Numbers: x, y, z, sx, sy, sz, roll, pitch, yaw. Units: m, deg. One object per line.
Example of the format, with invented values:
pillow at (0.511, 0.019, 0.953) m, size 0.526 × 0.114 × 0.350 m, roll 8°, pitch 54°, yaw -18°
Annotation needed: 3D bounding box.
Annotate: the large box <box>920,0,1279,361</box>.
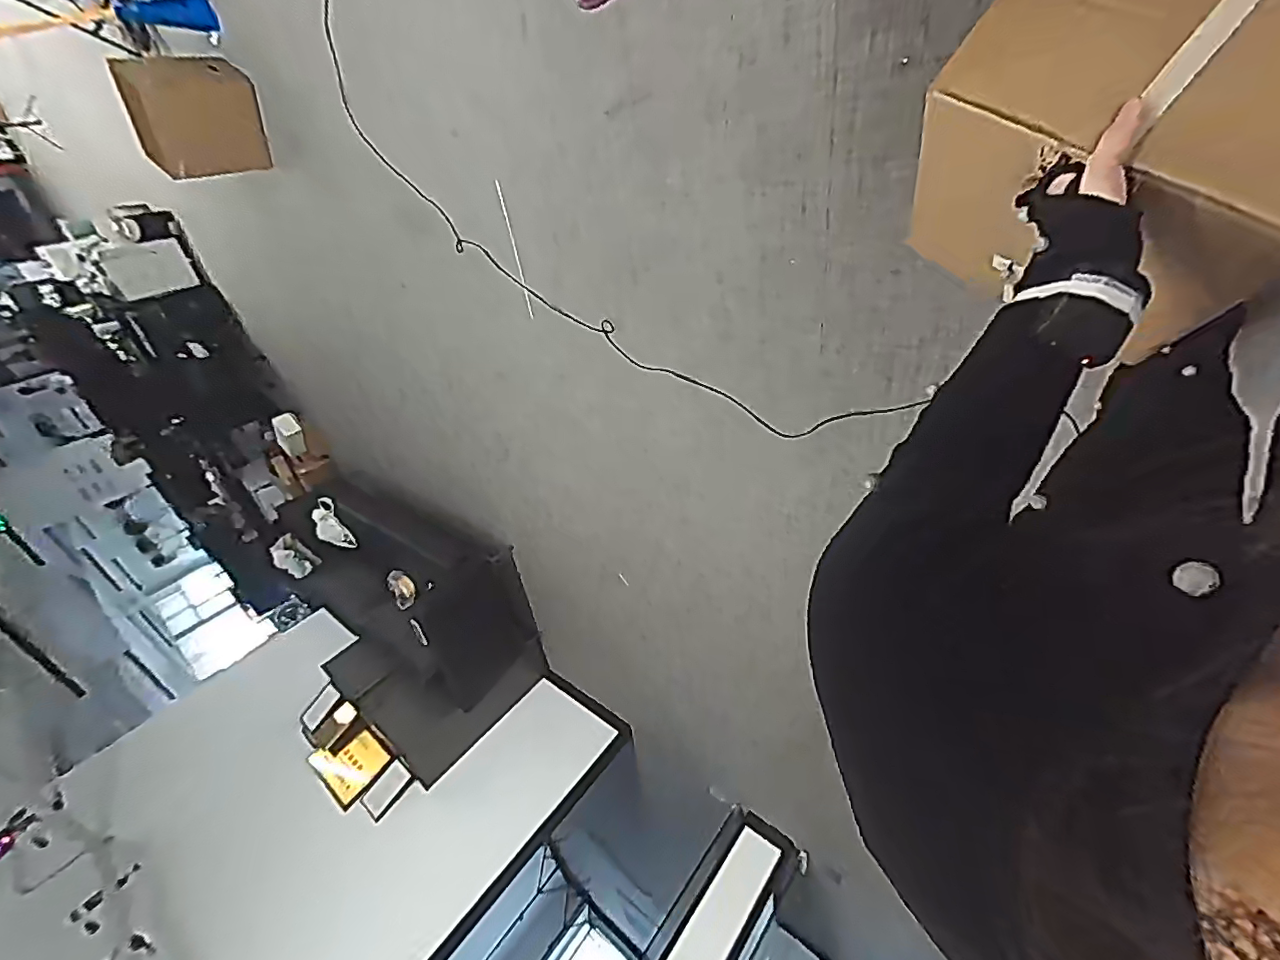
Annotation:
large box at (0.549, -0.397, 0.538) m, size 0.320 × 0.320 × 0.408 m, roll 41°, pitch 101°, yaw 21°
